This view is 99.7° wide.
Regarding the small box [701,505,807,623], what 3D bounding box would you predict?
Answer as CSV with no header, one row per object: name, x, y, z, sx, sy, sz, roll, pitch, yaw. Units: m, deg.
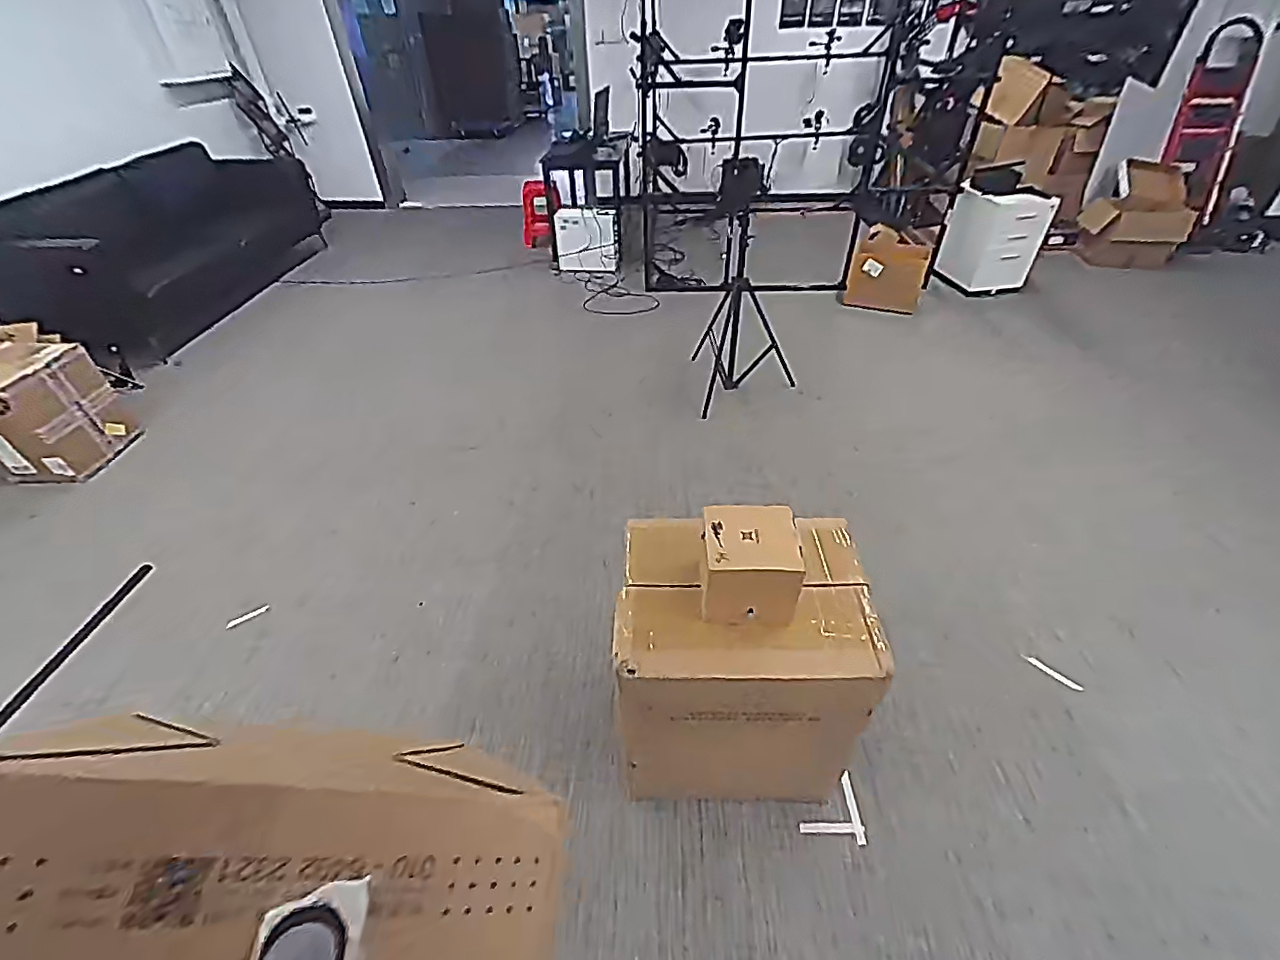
small box,0.215,0.167,1.070,0.179,0.176,0.168,0,41,3
